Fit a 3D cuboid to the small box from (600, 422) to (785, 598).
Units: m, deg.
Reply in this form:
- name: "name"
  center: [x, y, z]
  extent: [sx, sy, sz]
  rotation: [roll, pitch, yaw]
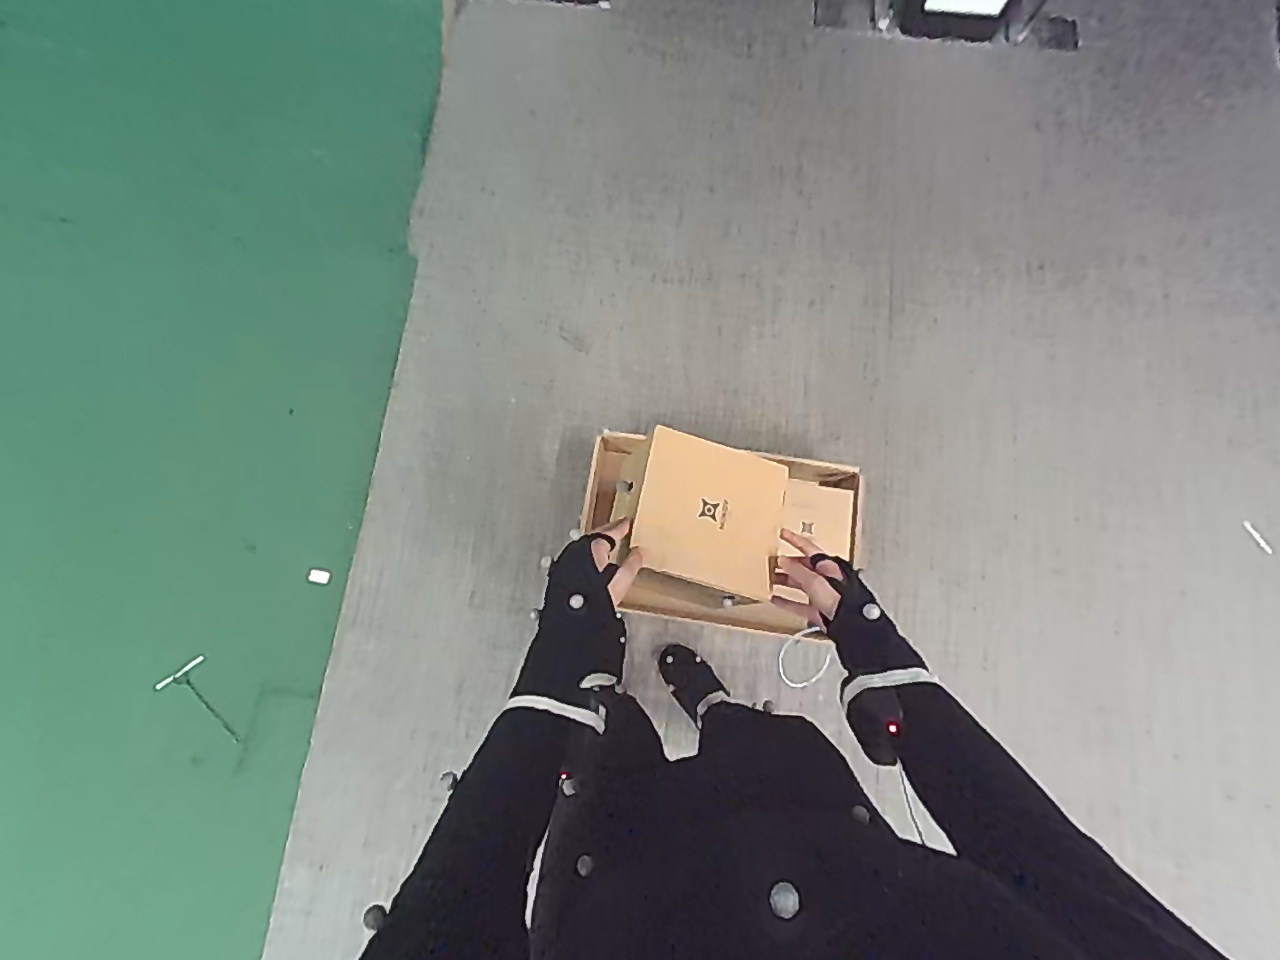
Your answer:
- name: "small box"
  center: [0.058, 0.050, 0.690]
  extent: [0.179, 0.176, 0.168]
  rotation: [16, 72, -11]

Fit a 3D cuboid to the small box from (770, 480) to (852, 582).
- name: "small box"
  center: [0.308, 0.106, 1.089]
  extent: [0.168, 0.176, 0.179]
  rotation: [9, 79, 1]
